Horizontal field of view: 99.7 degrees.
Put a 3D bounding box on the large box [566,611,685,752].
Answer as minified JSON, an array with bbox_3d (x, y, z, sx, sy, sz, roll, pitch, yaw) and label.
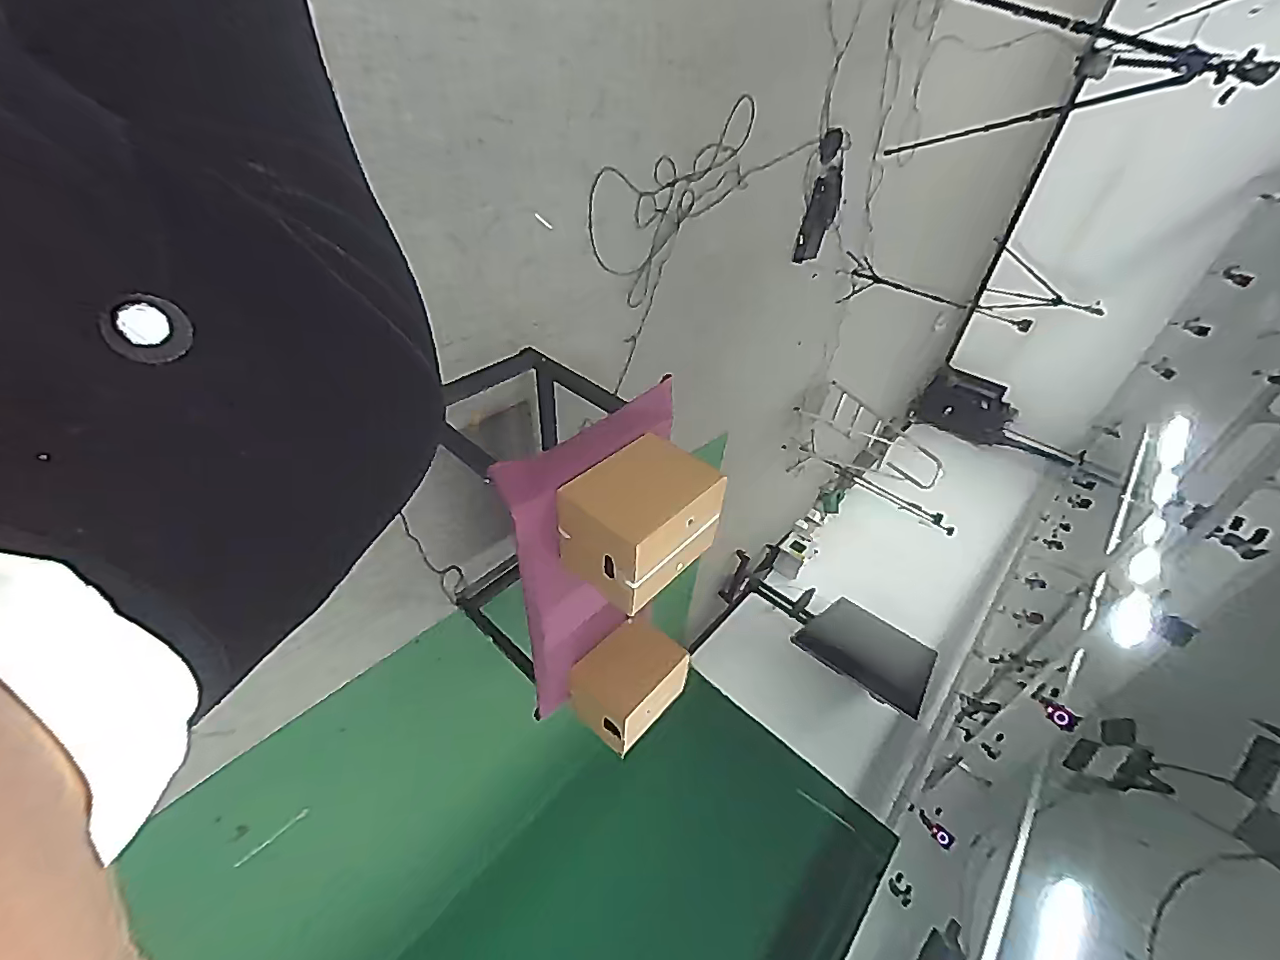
[{"bbox_3d":[-0.065,0.844,2.305,0.408,0.320,0.320,-33,142,-37],"label":"large box"}]
